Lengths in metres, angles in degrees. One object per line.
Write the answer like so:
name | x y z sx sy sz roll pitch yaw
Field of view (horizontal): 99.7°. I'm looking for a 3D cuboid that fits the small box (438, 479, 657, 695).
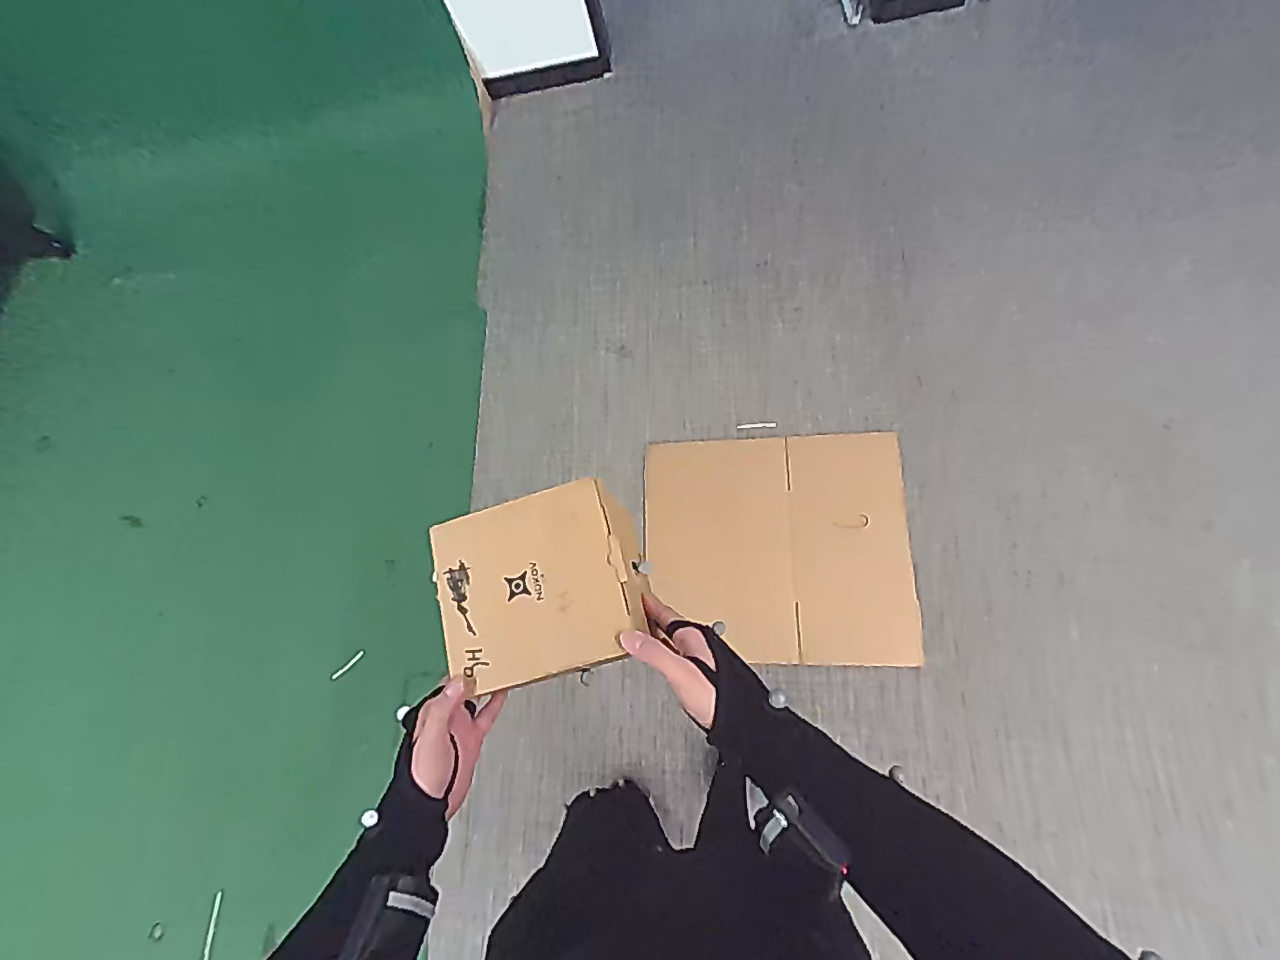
small box | -0.085 0.117 0.574 0.179 0.176 0.168 -16 71 5
